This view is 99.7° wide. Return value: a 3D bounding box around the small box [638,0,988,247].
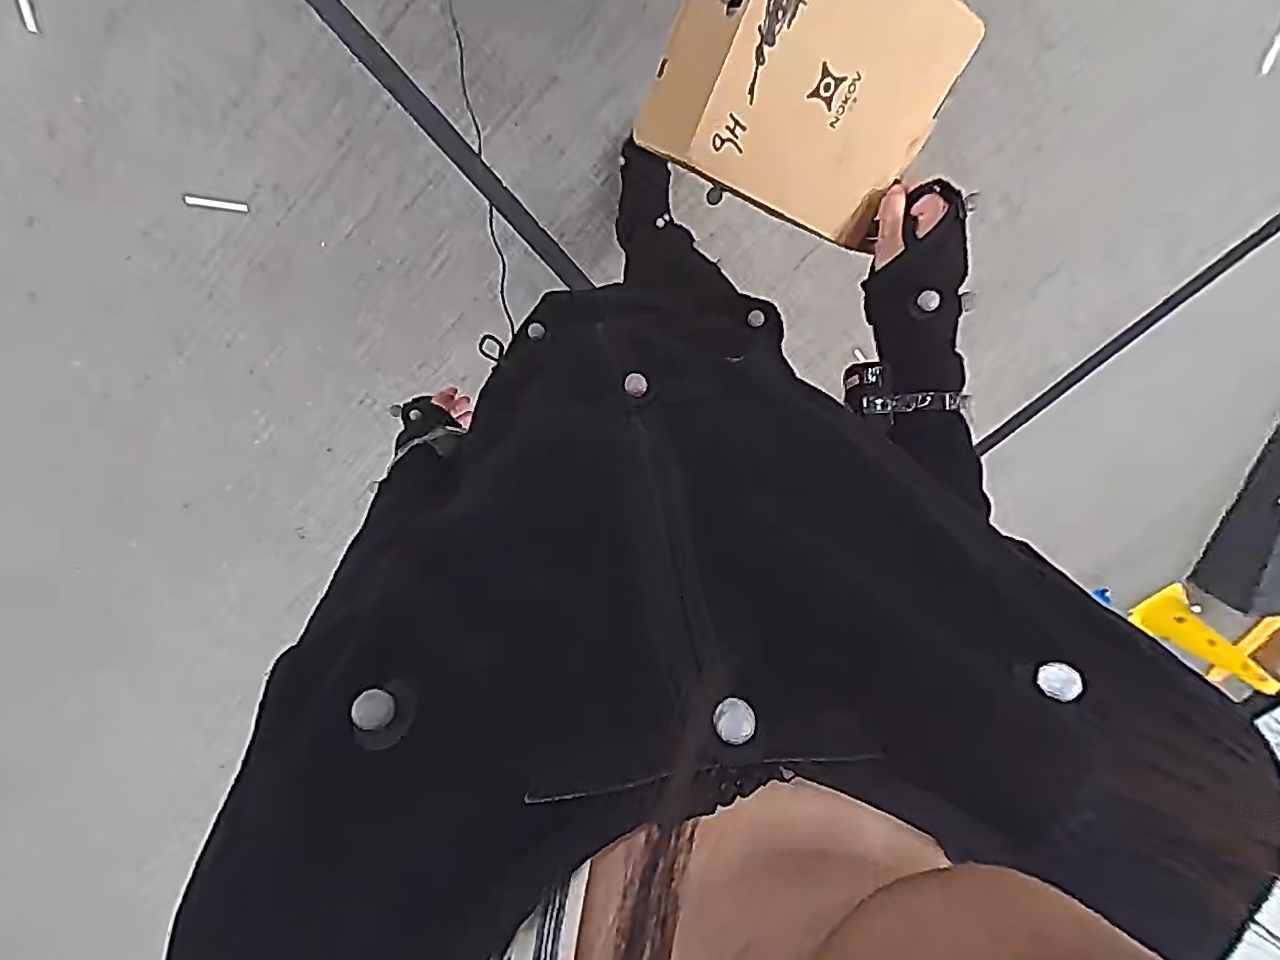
[{"bbox_3d":[0.122,-0.323,0.445,0.179,0.176,0.168,12,121,-26],"label":"small box"}]
